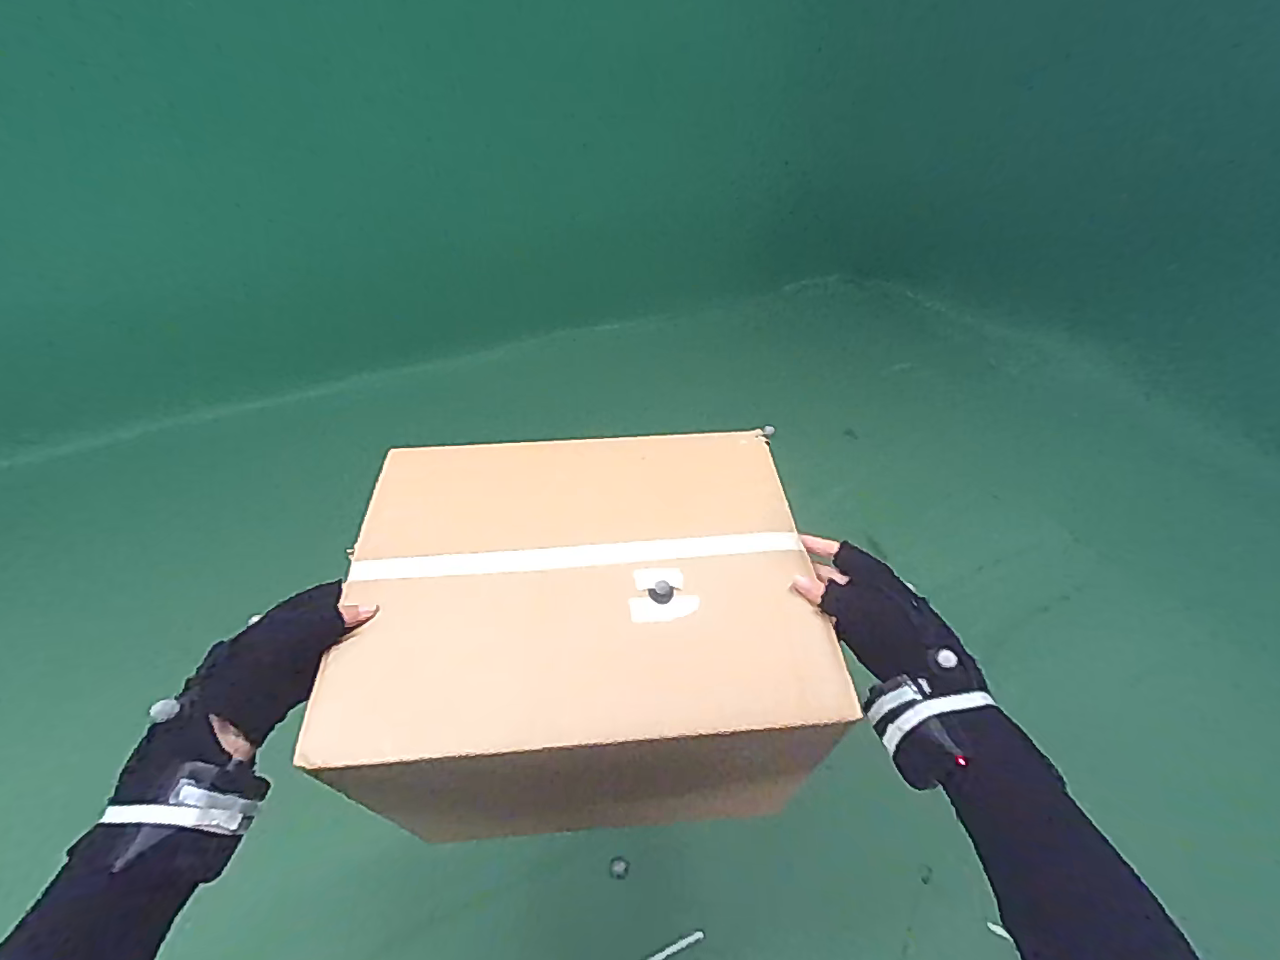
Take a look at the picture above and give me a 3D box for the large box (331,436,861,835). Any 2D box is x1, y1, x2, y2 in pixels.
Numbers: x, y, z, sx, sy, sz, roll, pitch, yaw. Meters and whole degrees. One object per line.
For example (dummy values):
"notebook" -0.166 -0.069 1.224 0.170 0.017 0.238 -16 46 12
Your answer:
"large box" -0.043 0.172 0.607 0.408 0.320 0.320 -2 48 -4
